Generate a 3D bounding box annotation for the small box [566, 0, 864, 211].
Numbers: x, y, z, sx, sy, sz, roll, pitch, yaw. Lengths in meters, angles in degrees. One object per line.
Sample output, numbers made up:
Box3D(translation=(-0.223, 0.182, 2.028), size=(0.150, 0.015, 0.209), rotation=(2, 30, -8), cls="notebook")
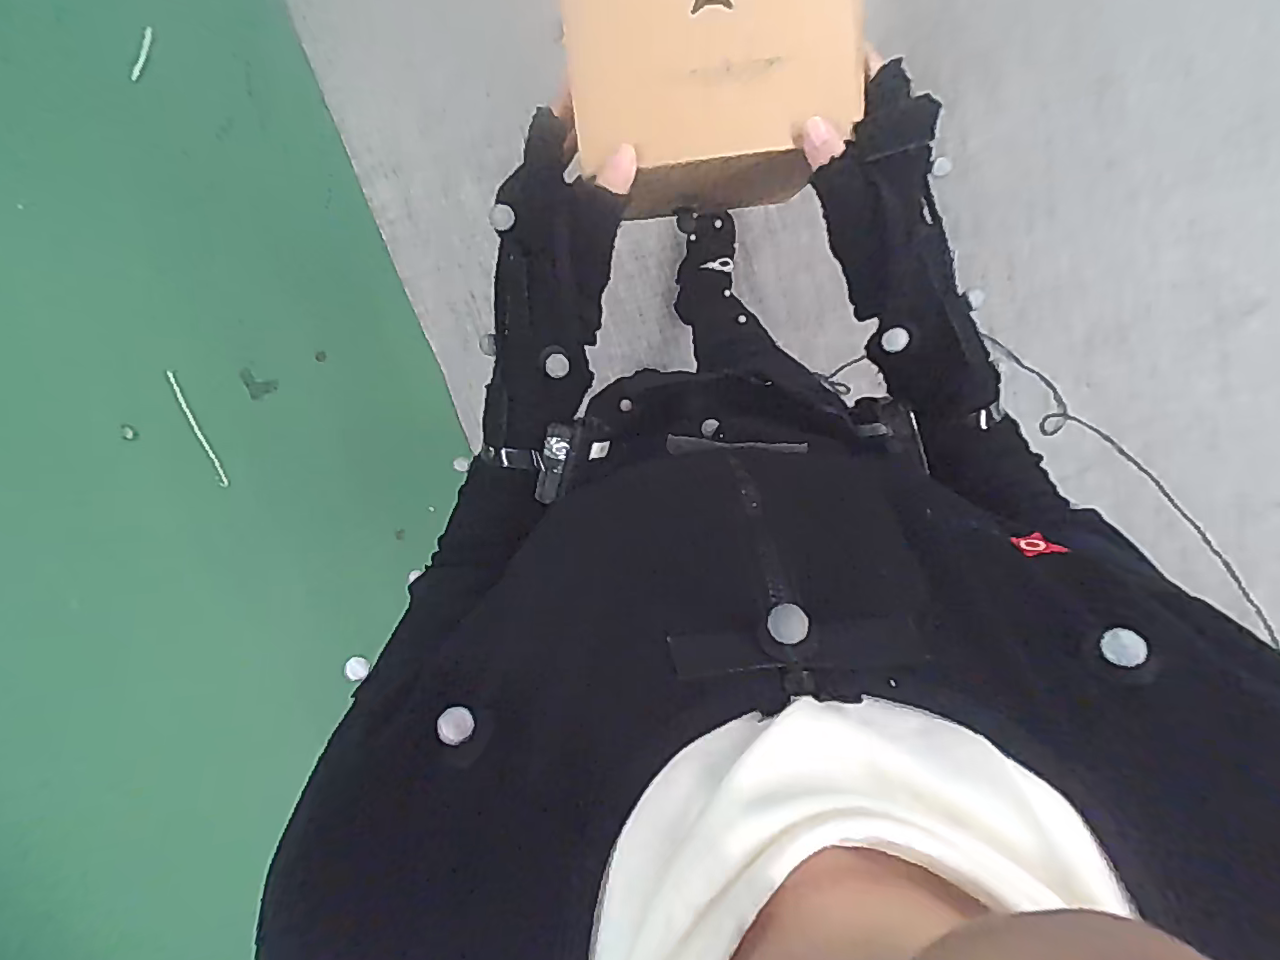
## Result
Box3D(translation=(0.038, -0.301, 0.367), size=(0.168, 0.176, 0.179), rotation=(-5, 106, 2), cls="small box")
